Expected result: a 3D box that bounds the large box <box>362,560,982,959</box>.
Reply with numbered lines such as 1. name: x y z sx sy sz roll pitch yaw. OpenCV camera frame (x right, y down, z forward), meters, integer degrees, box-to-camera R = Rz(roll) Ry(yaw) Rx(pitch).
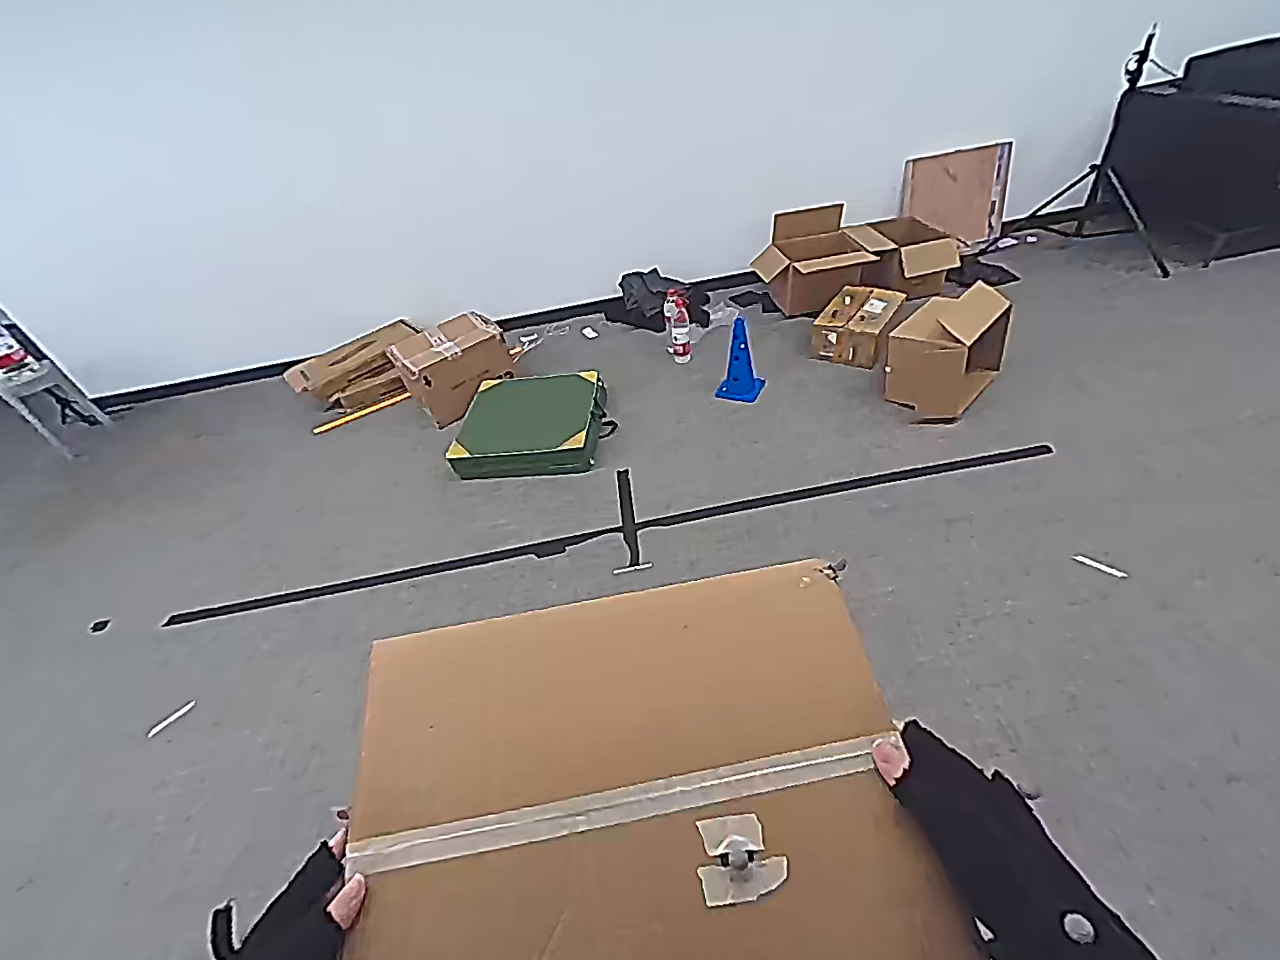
1. large box: 0.005 0.316 0.528 0.408 0.320 0.320 -10 57 -3
